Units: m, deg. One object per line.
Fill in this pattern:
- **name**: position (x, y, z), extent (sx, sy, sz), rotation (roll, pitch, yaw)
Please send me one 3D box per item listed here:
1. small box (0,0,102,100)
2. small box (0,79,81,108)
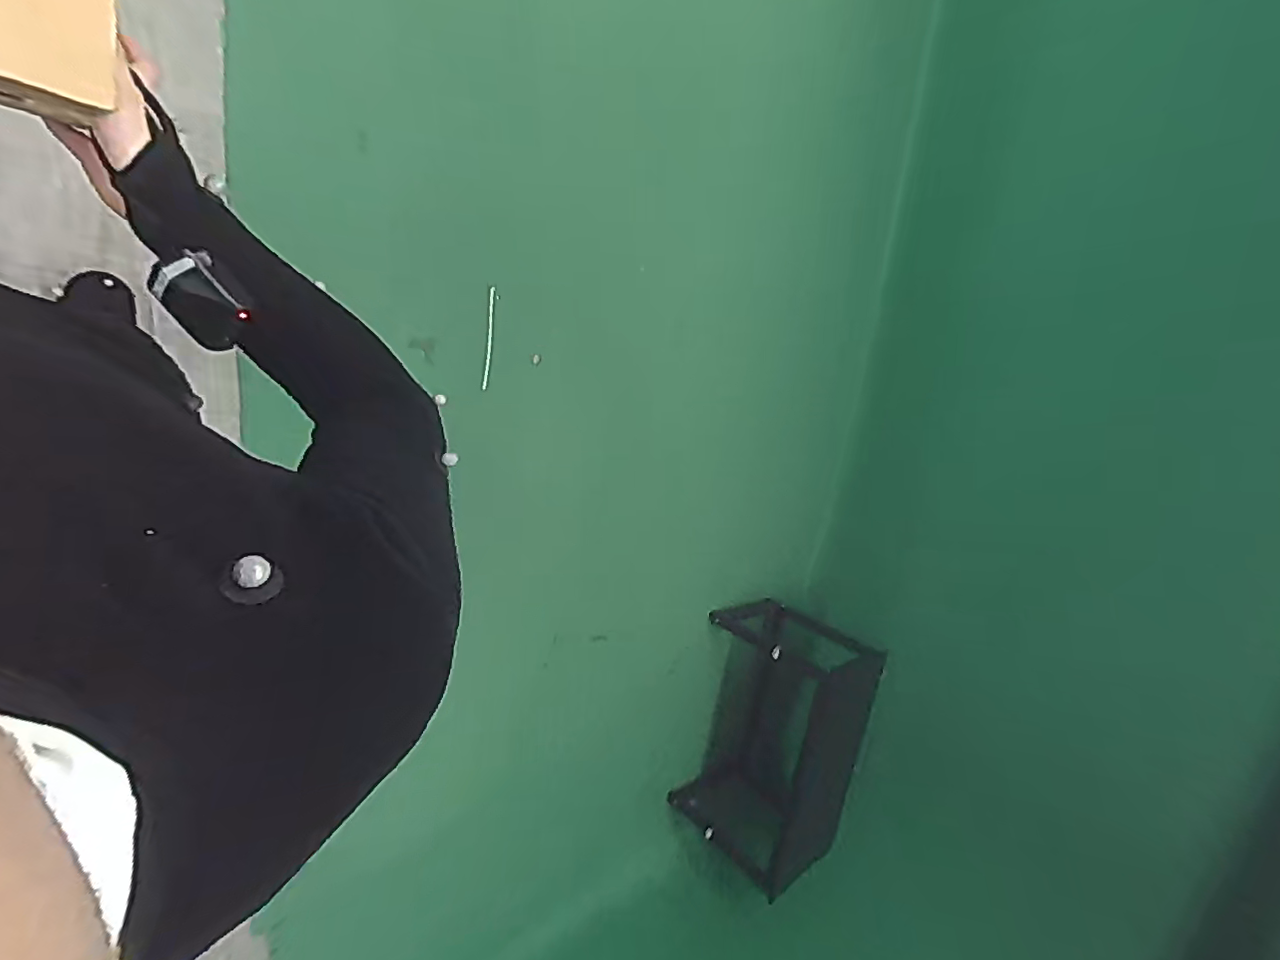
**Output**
- **small box**: position (-0.343, -0.293, 0.228), extent (0.168, 0.176, 0.179), rotation (-2, 114, -46)
- **small box**: position (-0.456, -0.355, 0.325), extent (0.168, 0.176, 0.179), rotation (-3, 114, -46)
